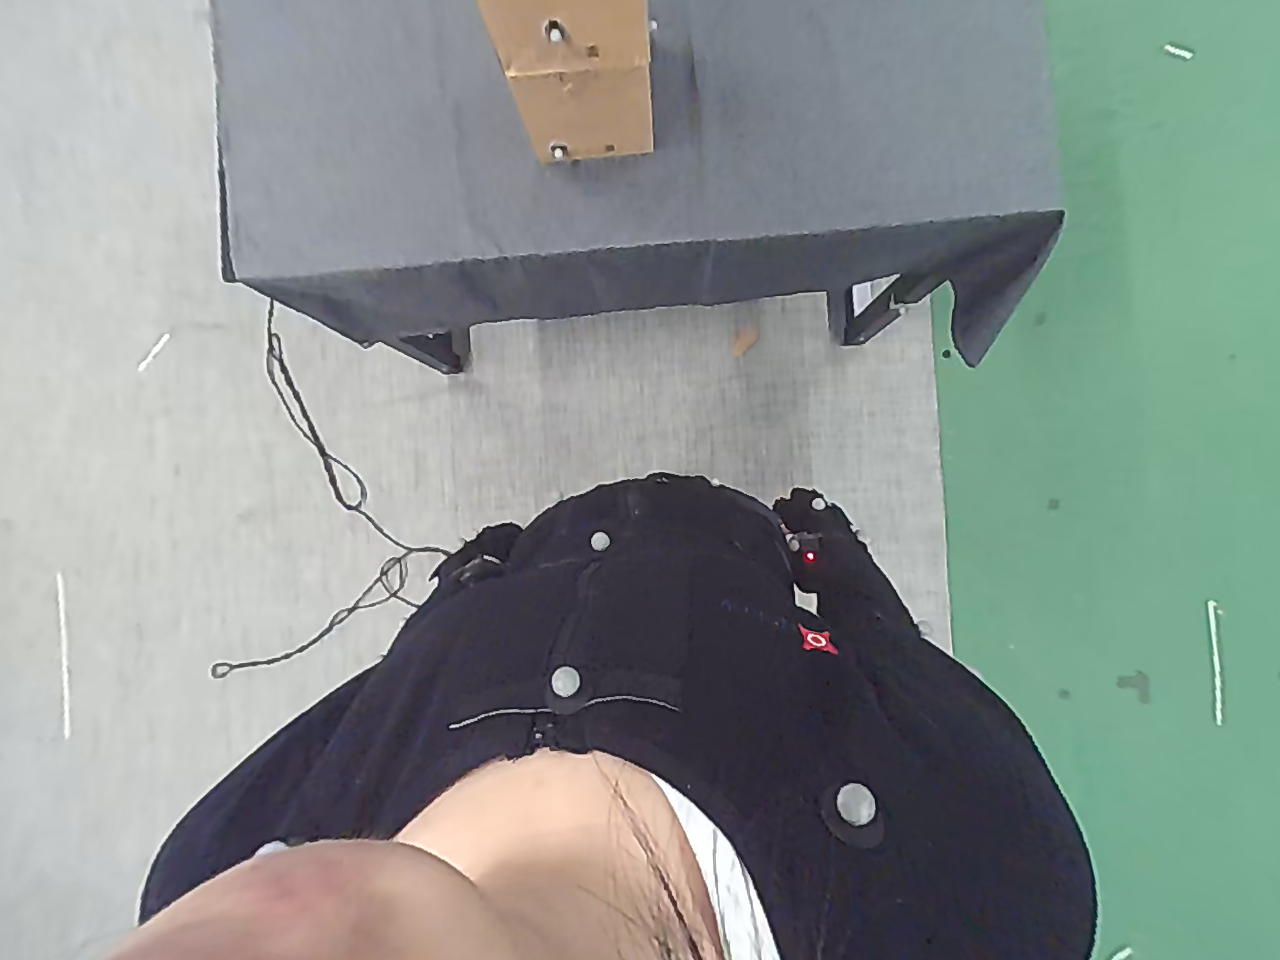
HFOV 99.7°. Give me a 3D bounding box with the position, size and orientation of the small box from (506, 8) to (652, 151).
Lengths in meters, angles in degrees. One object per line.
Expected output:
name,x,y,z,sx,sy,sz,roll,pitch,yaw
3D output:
small box,-0.073,-0.557,0.701,0.168,0.176,0.179,-4,88,3

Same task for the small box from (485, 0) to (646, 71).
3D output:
small box,-0.081,-0.560,0.540,0.168,0.176,0.179,-3,89,3
